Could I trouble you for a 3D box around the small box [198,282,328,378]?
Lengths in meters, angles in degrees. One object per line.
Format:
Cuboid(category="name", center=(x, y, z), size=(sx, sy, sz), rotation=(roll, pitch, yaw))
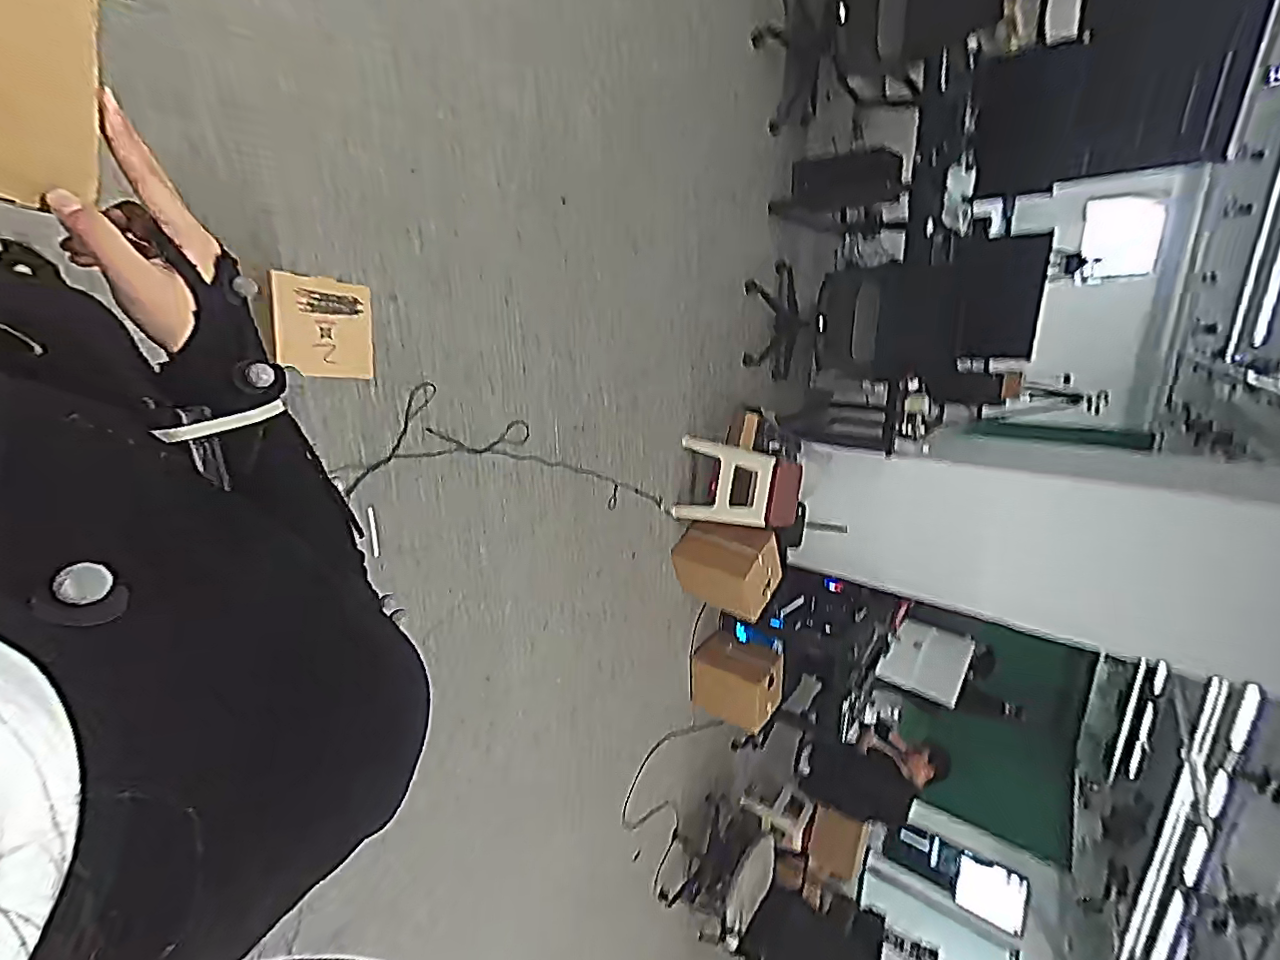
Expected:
Cuboid(category="small box", center=(-0.768, -0.300, 1.106), size=(0.179, 0.176, 0.168), rotation=(-8, 104, -51))
